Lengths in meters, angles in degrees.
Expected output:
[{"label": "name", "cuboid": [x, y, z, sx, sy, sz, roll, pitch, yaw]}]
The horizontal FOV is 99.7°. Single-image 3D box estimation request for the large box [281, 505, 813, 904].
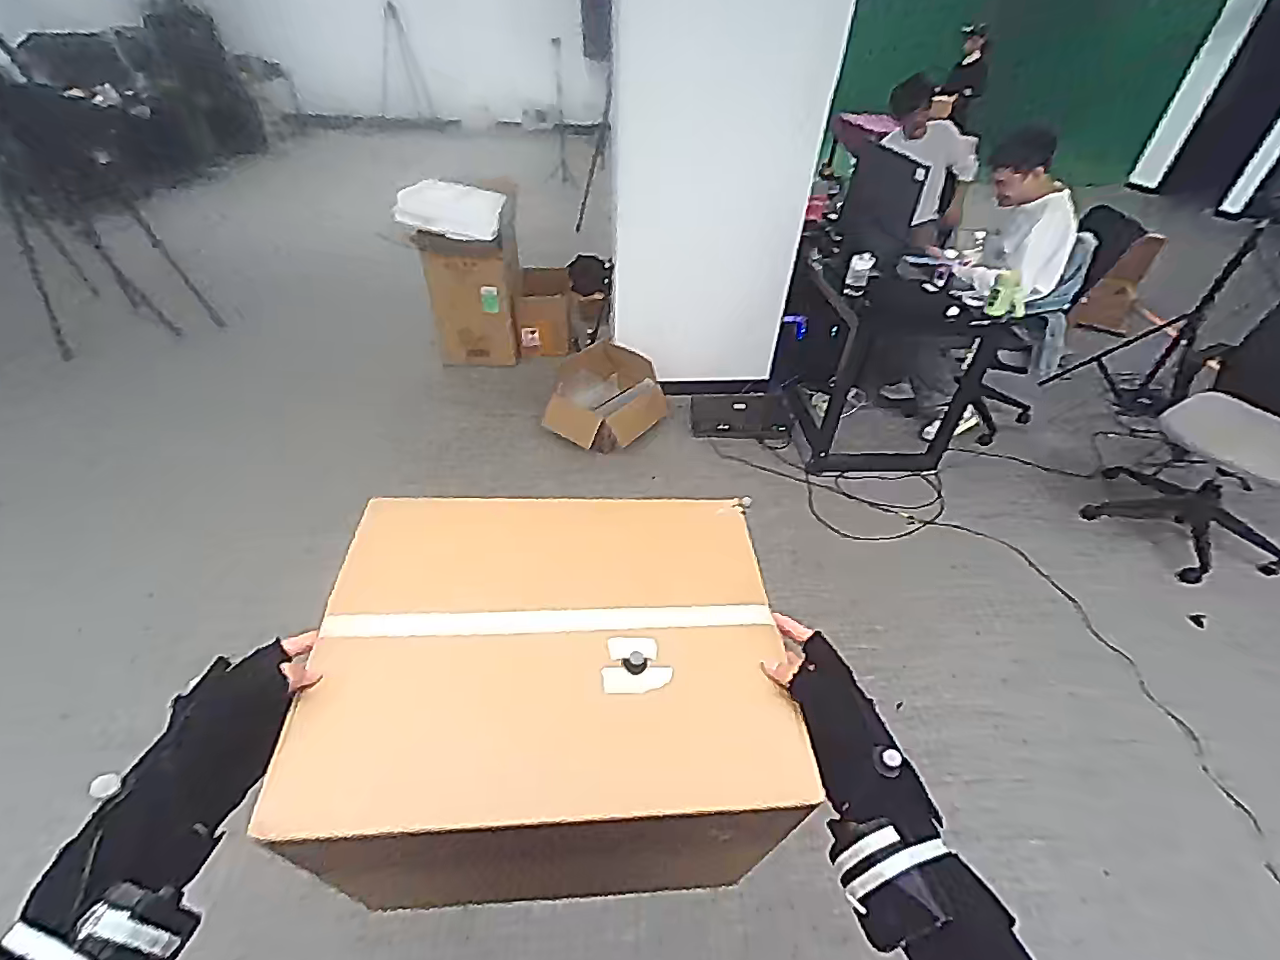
[{"label": "large box", "cuboid": [-0.085, 0.242, 0.609, 0.408, 0.320, 0.320, 1, 45, -7]}]
